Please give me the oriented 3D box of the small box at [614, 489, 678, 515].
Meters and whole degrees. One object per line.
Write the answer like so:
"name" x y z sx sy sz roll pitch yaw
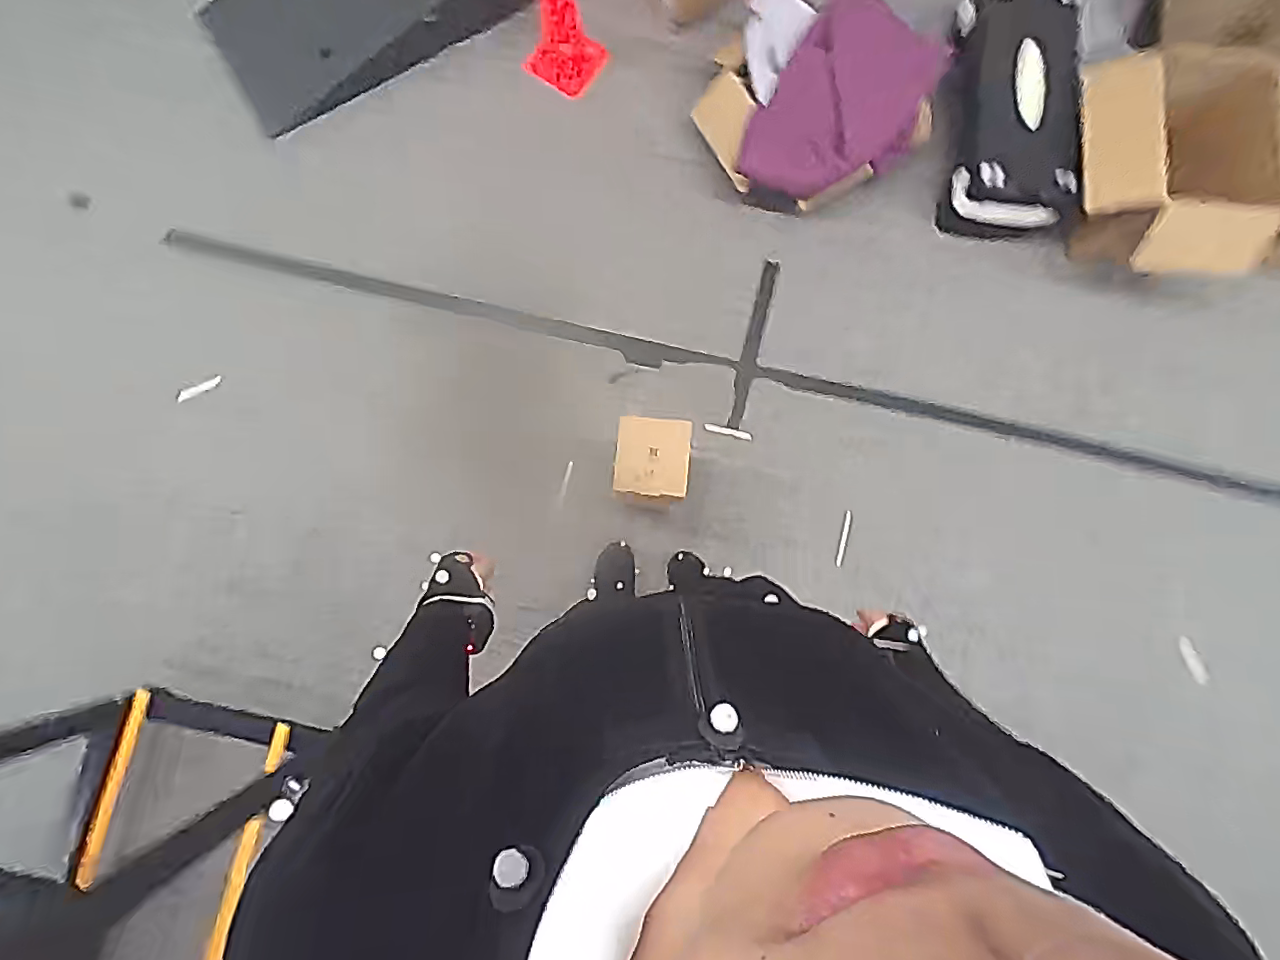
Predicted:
"small box" 0.029 -0.008 1.453 0.168 0.176 0.179 11 85 2

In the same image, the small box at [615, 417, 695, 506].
"small box" 0.035 -0.039 1.290 0.168 0.176 0.179 6 83 2
